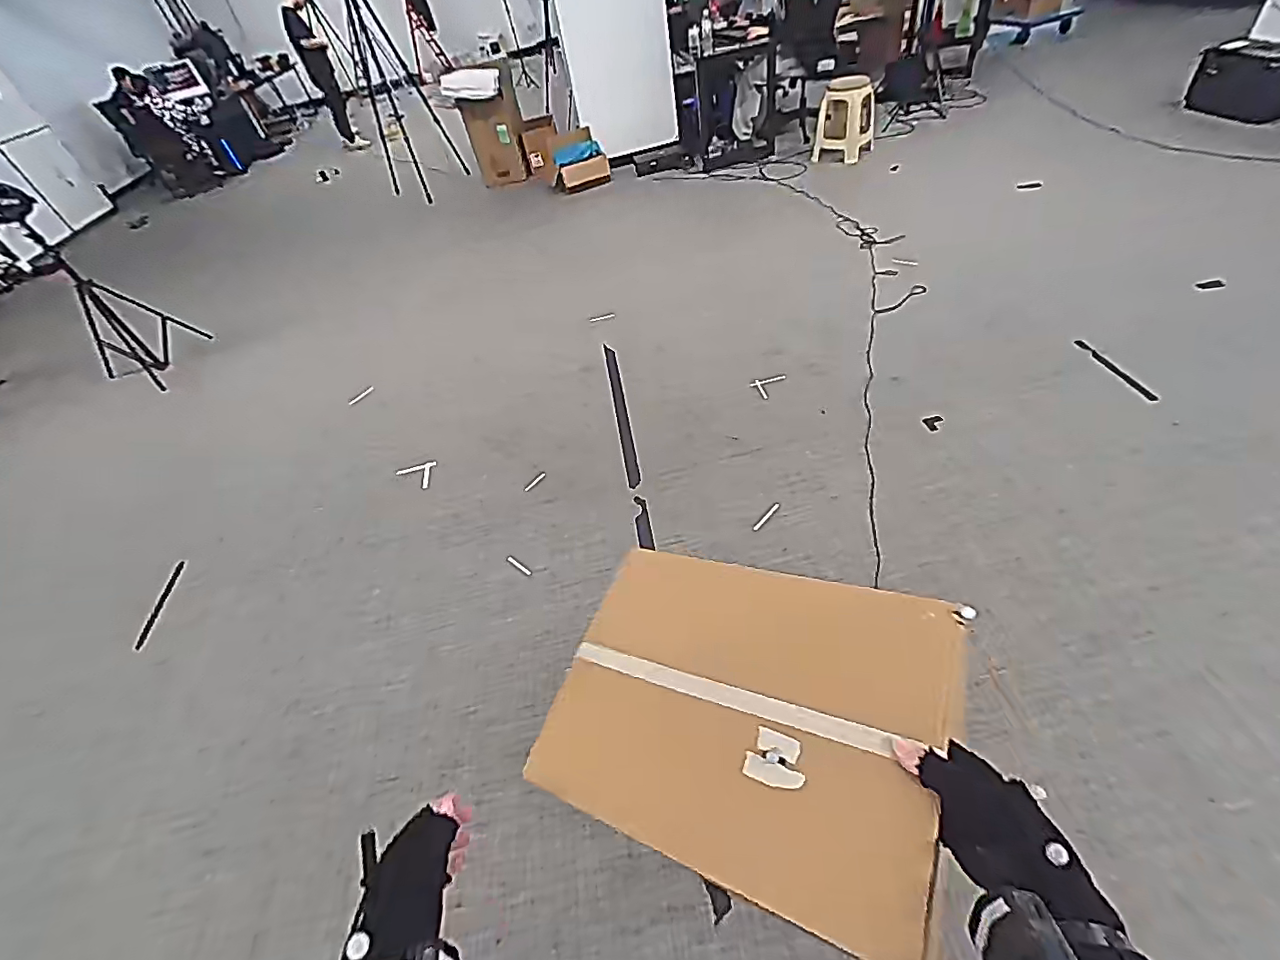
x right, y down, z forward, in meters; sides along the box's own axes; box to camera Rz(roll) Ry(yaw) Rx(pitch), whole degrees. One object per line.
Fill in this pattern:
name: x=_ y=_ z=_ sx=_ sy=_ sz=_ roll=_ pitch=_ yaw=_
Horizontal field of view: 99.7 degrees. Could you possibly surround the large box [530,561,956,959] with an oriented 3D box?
large box: x=0.152 y=0.334 z=0.680 sx=0.408 sy=0.320 sz=0.320 roll=5 pitch=54 yaw=31
